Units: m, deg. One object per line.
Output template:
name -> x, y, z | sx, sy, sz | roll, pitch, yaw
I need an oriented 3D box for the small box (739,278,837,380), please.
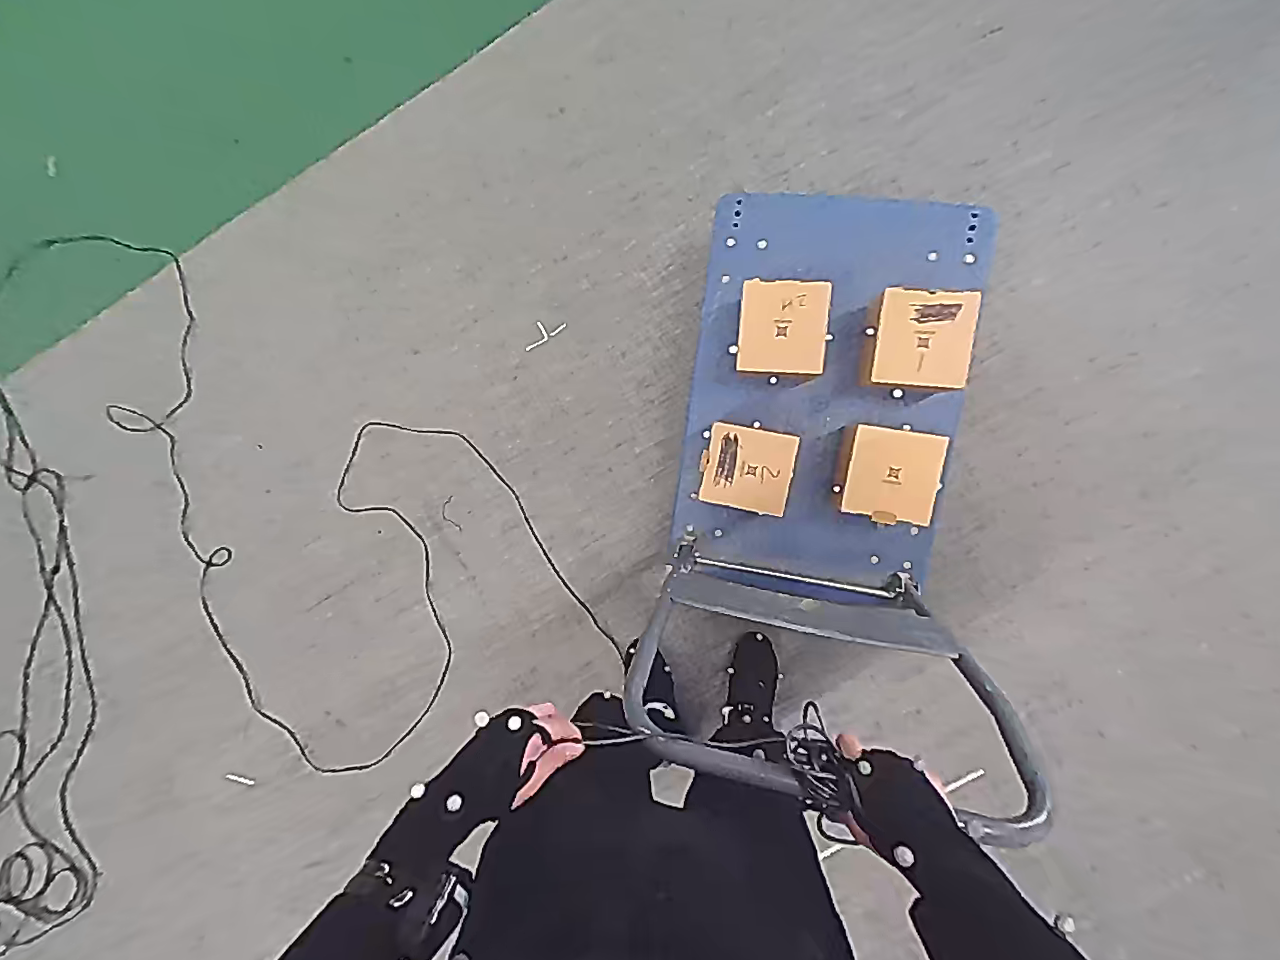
small box -> 0.298, -0.303, 1.114 | 0.168, 0.176, 0.179 | 6, 97, 11

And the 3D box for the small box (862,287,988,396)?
small box -> 0.547, -0.265, 1.064 | 0.168, 0.176, 0.179 | 8, 99, 11

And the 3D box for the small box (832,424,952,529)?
small box -> 0.501, -0.015, 1.104 | 0.168, 0.176, 0.179 | 11, 100, 10
